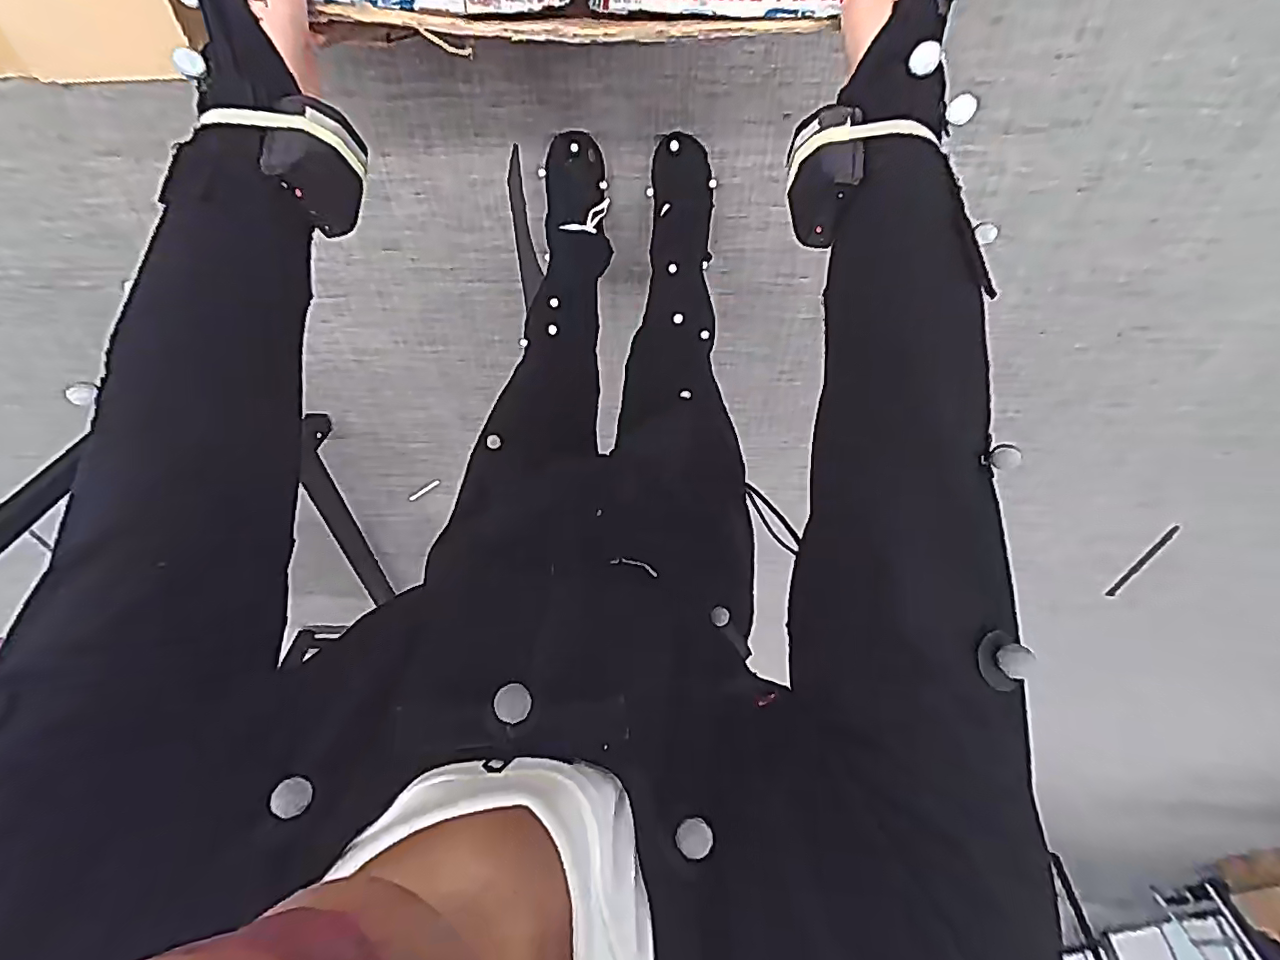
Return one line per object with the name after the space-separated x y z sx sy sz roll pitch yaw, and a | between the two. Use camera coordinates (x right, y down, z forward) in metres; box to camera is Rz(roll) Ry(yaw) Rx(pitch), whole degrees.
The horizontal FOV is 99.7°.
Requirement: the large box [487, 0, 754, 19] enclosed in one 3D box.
-0.027 -0.784 0.588 0.320 0.320 0.408 1 134 2 | large box
